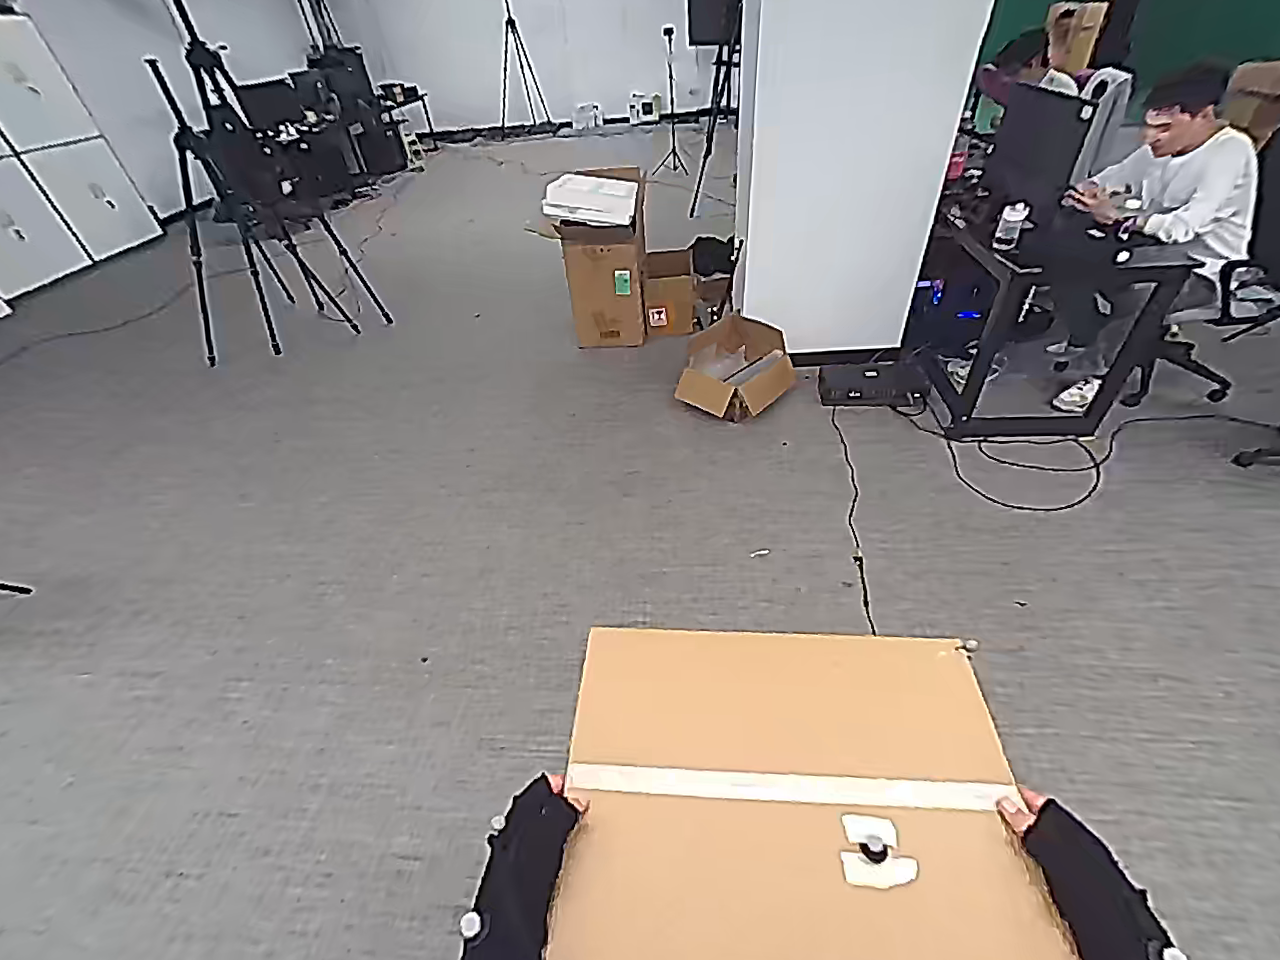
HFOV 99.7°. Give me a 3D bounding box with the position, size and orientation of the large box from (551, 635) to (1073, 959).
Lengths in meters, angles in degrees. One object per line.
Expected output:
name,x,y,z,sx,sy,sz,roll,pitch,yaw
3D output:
large box,0.141,0.392,0.601,0.408,0.320,0.320,0,45,6
